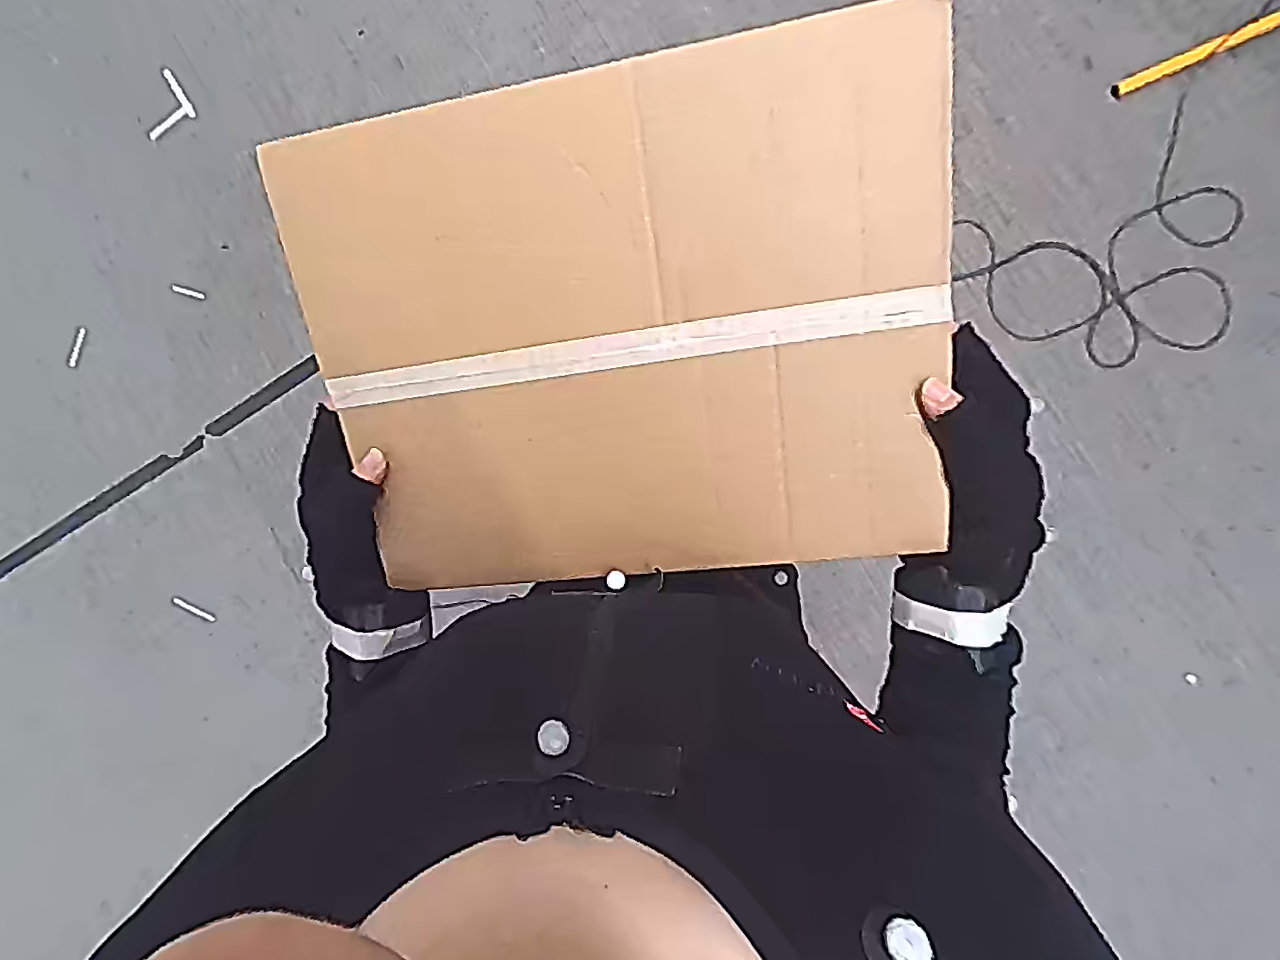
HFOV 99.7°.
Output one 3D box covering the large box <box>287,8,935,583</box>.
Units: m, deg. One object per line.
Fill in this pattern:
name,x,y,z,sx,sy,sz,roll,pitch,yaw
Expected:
large box,0.000,-0.126,0.500,0.408,0.320,0.320,-6,106,9
